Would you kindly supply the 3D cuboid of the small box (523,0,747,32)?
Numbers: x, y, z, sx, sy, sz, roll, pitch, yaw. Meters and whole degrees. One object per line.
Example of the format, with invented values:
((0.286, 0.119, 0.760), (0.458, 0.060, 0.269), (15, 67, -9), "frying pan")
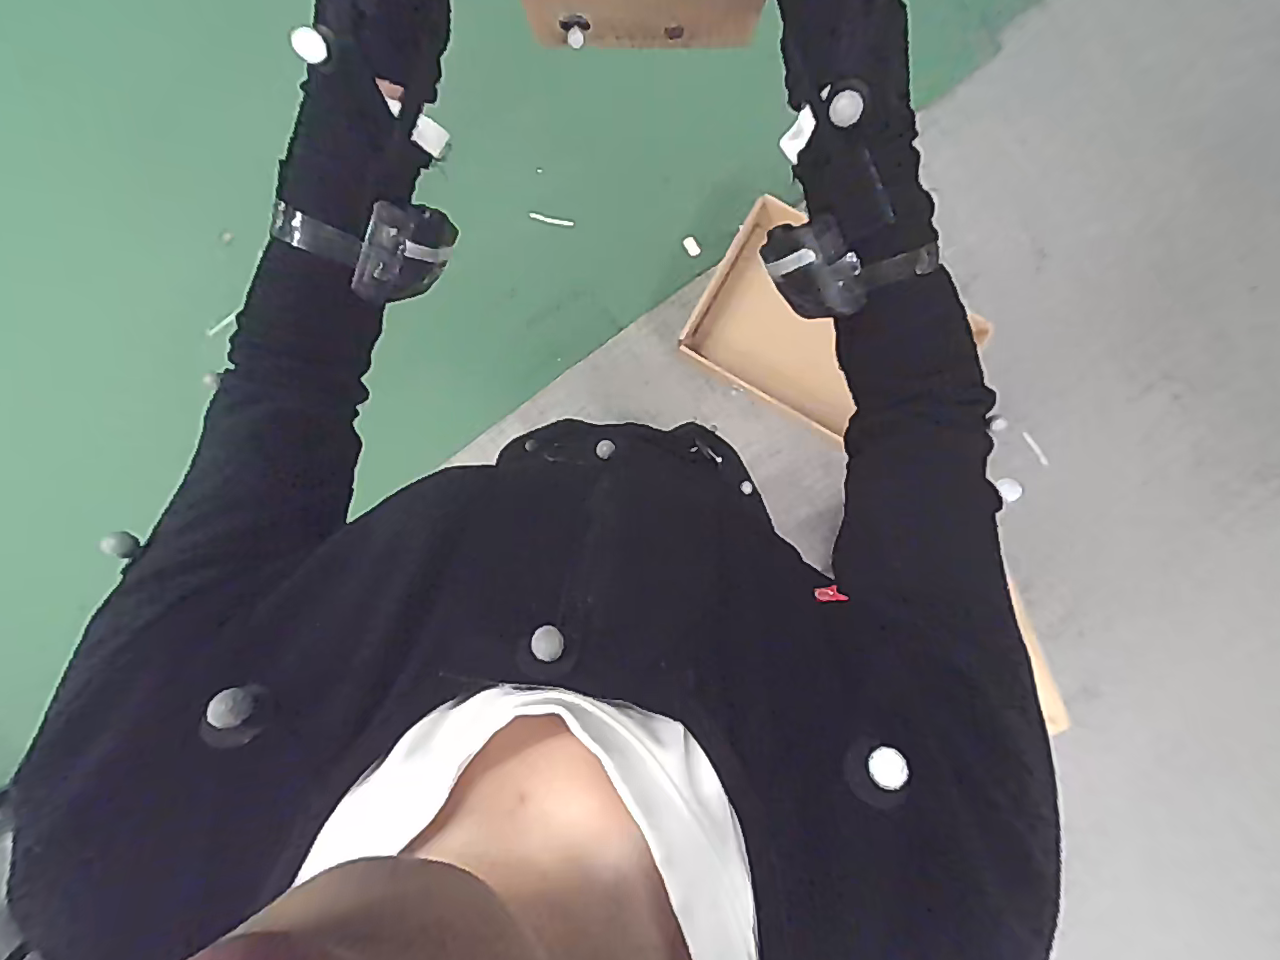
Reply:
((-0.007, -0.404, 0.315), (0.168, 0.176, 0.179), (-1, 99, 1), "small box")
